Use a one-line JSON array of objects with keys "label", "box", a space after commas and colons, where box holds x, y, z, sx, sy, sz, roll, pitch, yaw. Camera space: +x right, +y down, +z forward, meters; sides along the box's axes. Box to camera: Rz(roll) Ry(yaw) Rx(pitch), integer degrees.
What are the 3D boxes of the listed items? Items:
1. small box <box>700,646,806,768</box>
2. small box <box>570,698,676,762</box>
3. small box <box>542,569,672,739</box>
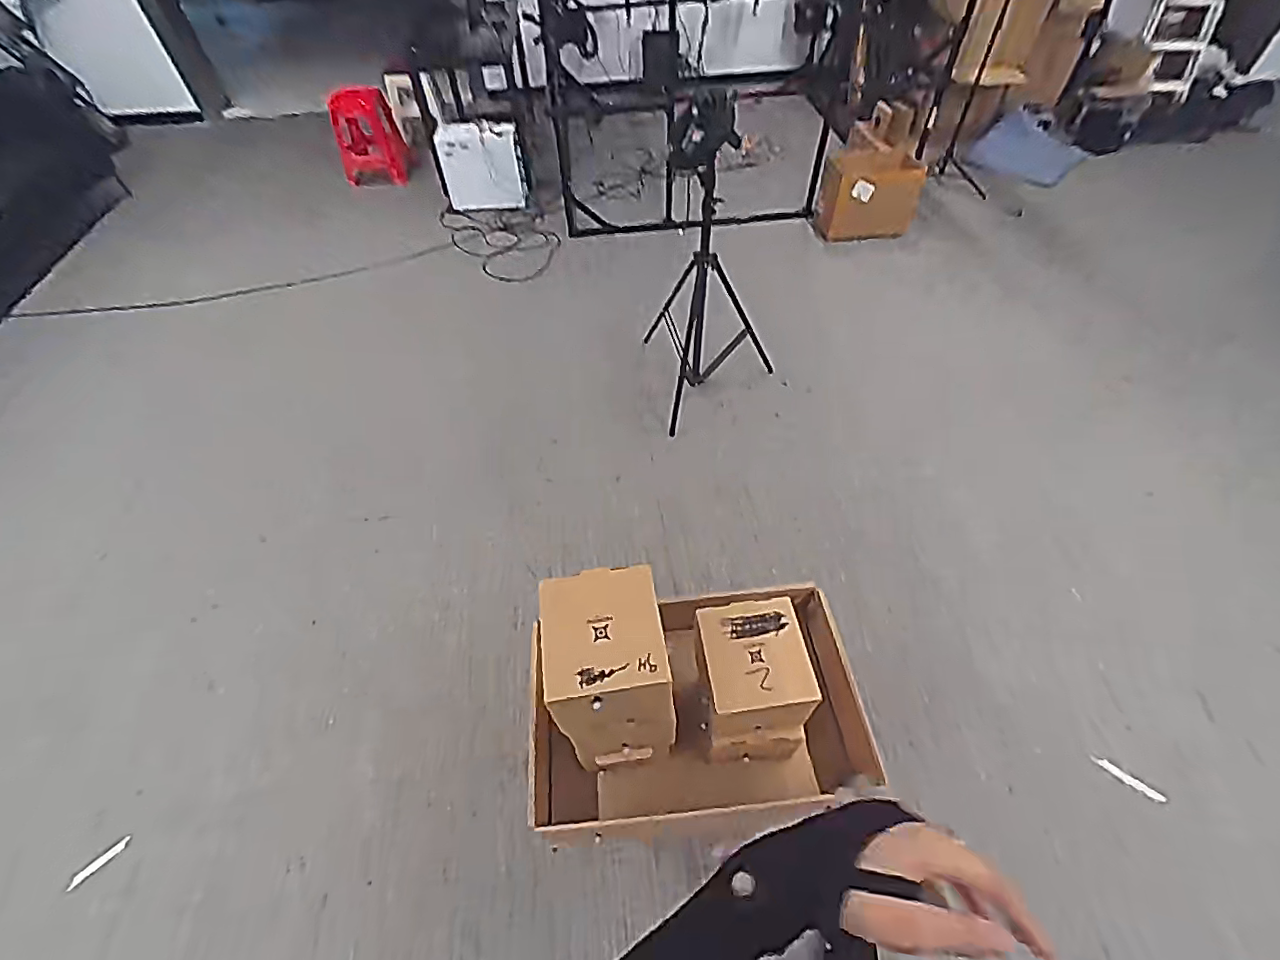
[{"label": "small box", "box": [0.209, 0.444, 1.055, 0.168, 0.176, 0.179, -5, 52, 1]}, {"label": "small box", "box": [-0.035, 0.359, 0.924, 0.168, 0.176, 0.179, -8, 52, -3]}, {"label": "small box", "box": [-0.048, 0.257, 0.796, 0.168, 0.176, 0.179, -8, 50, -3]}]
